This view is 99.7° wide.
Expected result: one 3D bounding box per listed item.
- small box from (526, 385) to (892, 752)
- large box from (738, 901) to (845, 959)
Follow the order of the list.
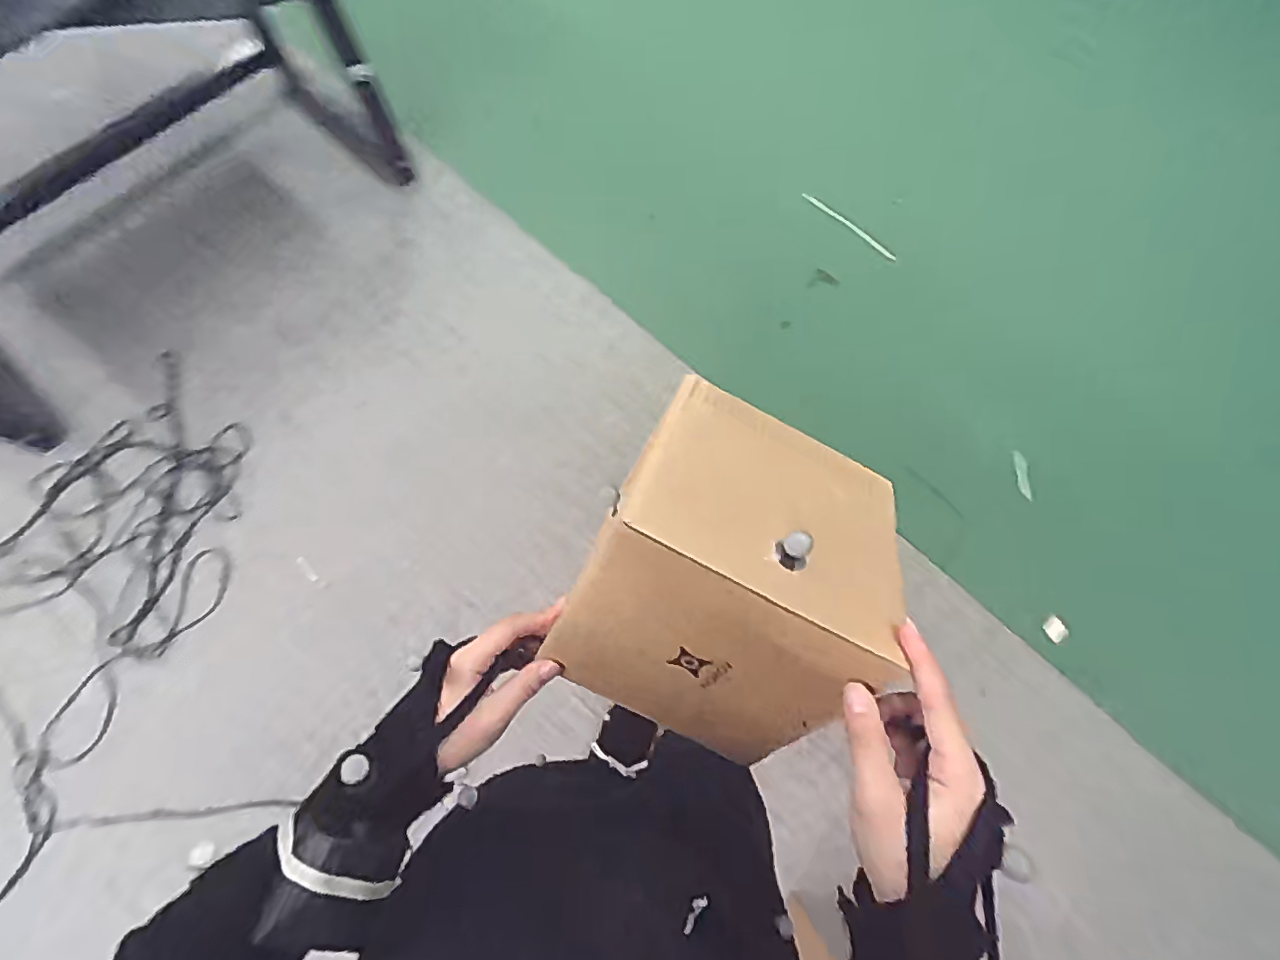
[{"bbox_3d":[0.046,0.056,0.391,0.179,0.168,0.176,26,41,-4],"label":"small box"},{"bbox_3d":[0.257,1.018,0.861,0.408,0.320,0.320,-40,76,-10],"label":"large box"}]
